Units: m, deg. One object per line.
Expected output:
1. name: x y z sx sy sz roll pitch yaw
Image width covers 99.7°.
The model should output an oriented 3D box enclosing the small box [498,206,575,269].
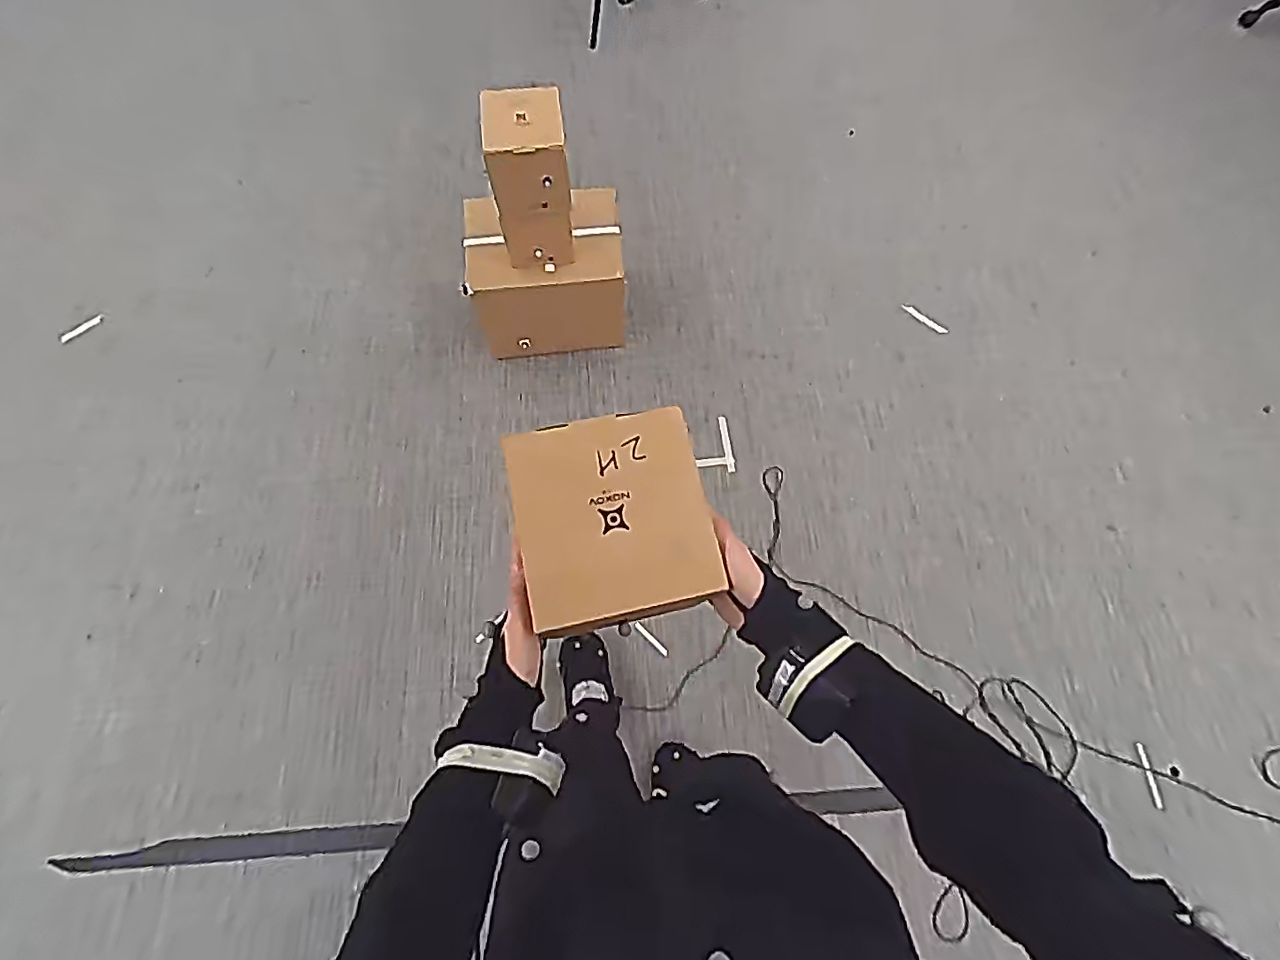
1. small box: -0.253 -0.652 1.334 0.168 0.176 0.179 -7 71 -4

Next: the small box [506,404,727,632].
1. small box: -0.028 0.048 0.540 0.168 0.176 0.179 -11 73 -9

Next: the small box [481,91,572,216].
1. small box: -0.243 -0.702 1.179 0.168 0.176 0.179 -7 70 -5
